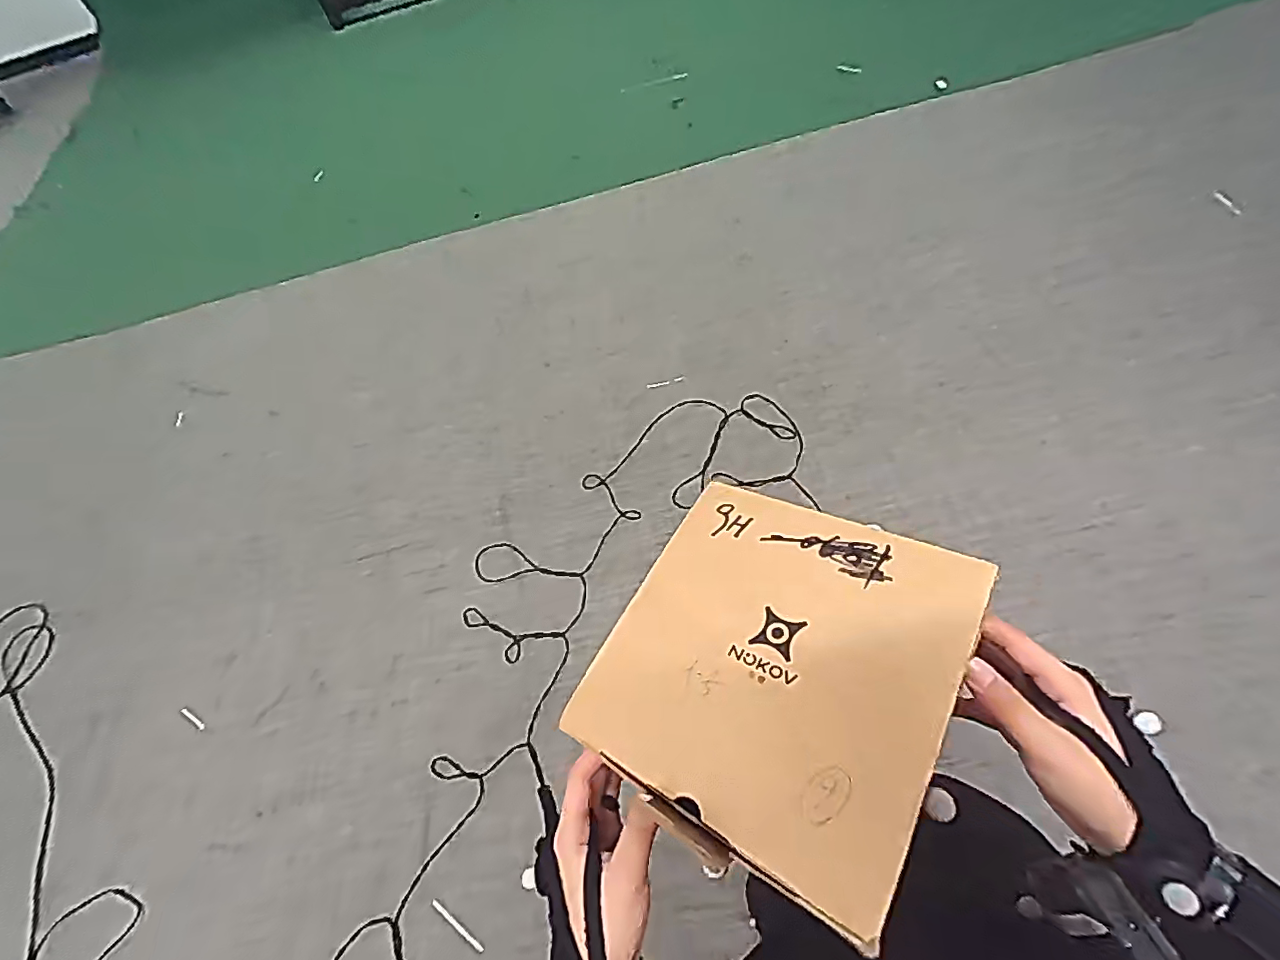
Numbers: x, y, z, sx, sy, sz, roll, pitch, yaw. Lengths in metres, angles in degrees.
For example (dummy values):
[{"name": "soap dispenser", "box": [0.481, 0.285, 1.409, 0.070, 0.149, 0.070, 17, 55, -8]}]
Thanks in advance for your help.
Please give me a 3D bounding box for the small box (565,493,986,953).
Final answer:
[{"name": "small box", "box": [0.092, 0.142, 0.339, 0.168, 0.176, 0.179, 18, 62, 34]}]
